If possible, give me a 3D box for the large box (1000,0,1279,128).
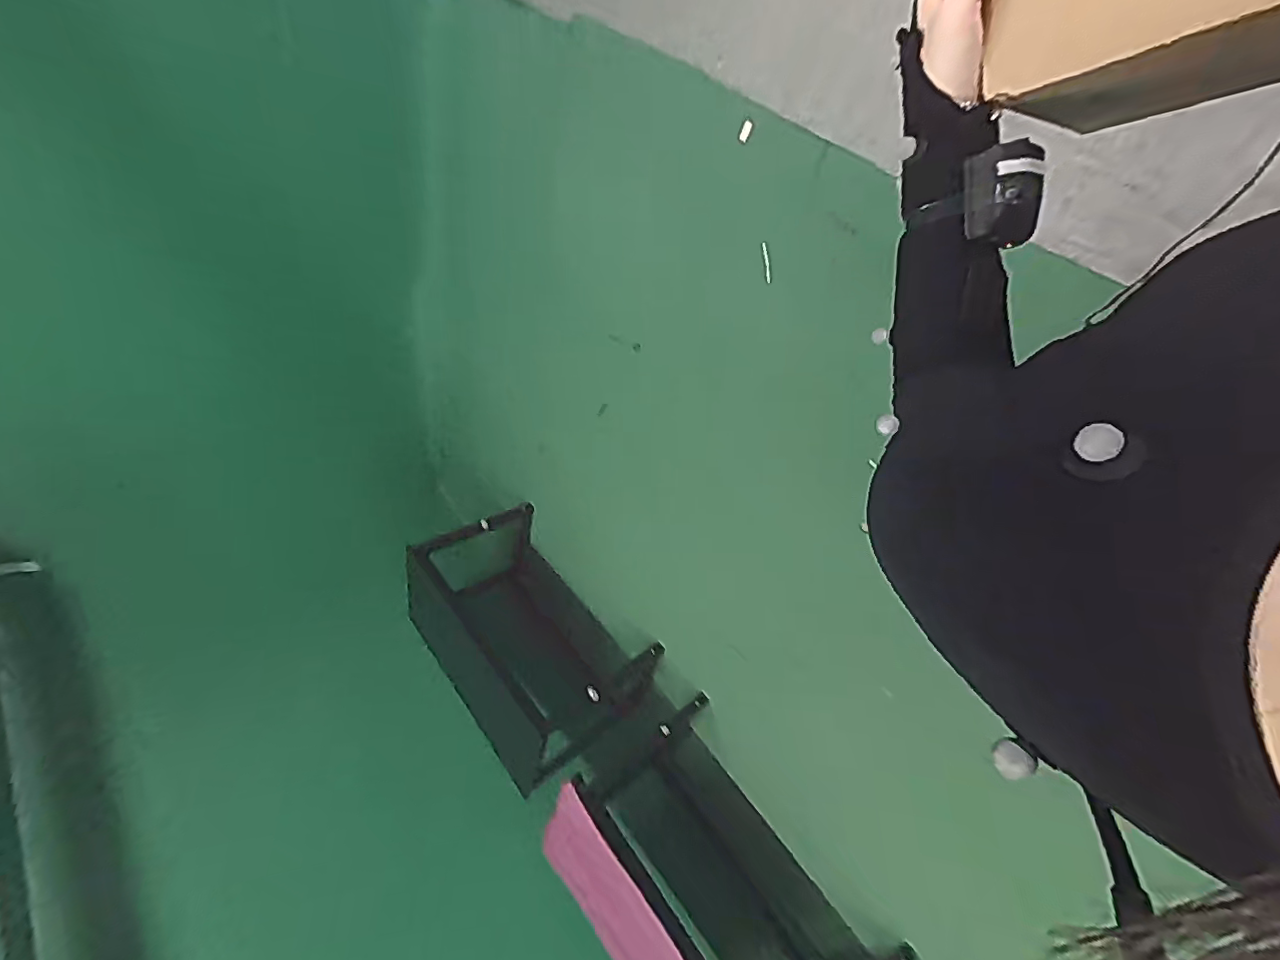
[{"bbox_3d":[0.470,-0.454,0.299,0.408,0.320,0.320,7,114,46],"label":"large box"}]
